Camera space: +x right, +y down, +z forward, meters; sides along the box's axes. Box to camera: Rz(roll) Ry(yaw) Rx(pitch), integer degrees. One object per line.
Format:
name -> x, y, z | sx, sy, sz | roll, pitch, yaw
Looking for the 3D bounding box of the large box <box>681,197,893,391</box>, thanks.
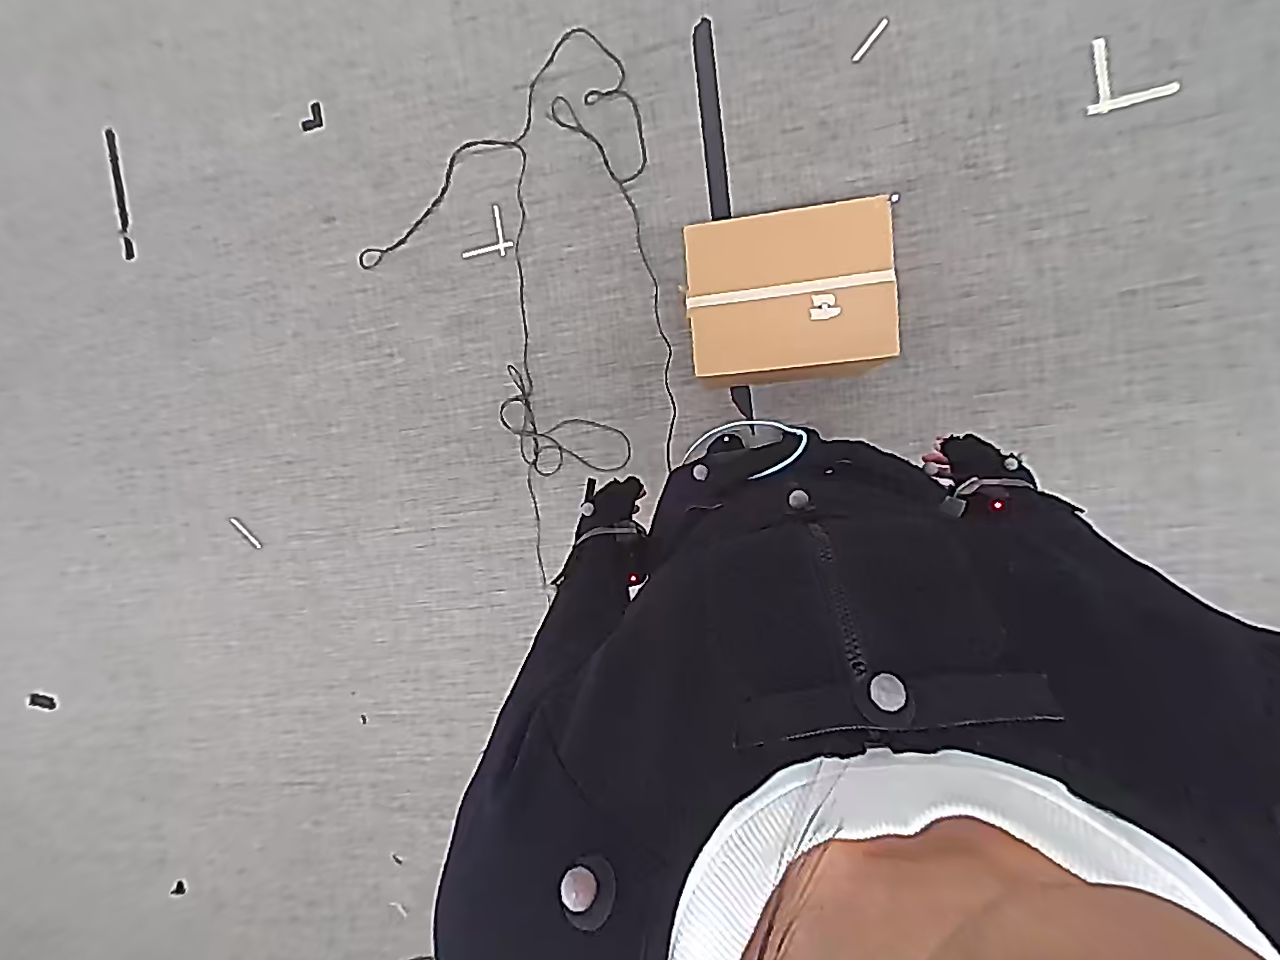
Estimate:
large box -> 0.318, -0.395, 1.245 | 0.408, 0.320, 0.320 | -5, 94, 10
